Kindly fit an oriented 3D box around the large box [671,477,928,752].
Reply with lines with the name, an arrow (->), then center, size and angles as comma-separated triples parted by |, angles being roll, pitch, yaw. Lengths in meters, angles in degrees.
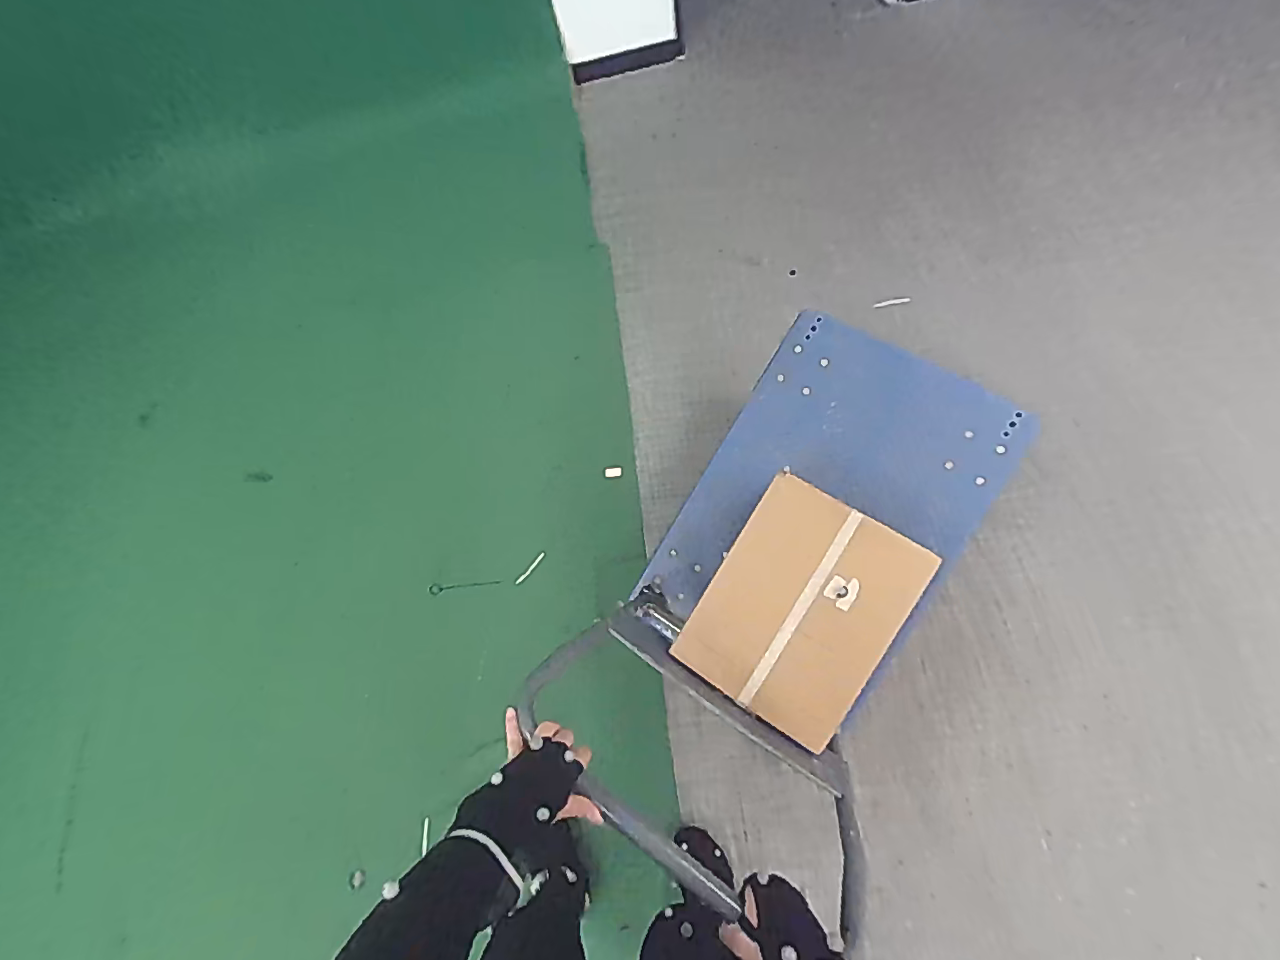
large box -> 0.316, 0.256, 1.127 | 0.320, 0.320, 0.408 | 32, 92, 15
